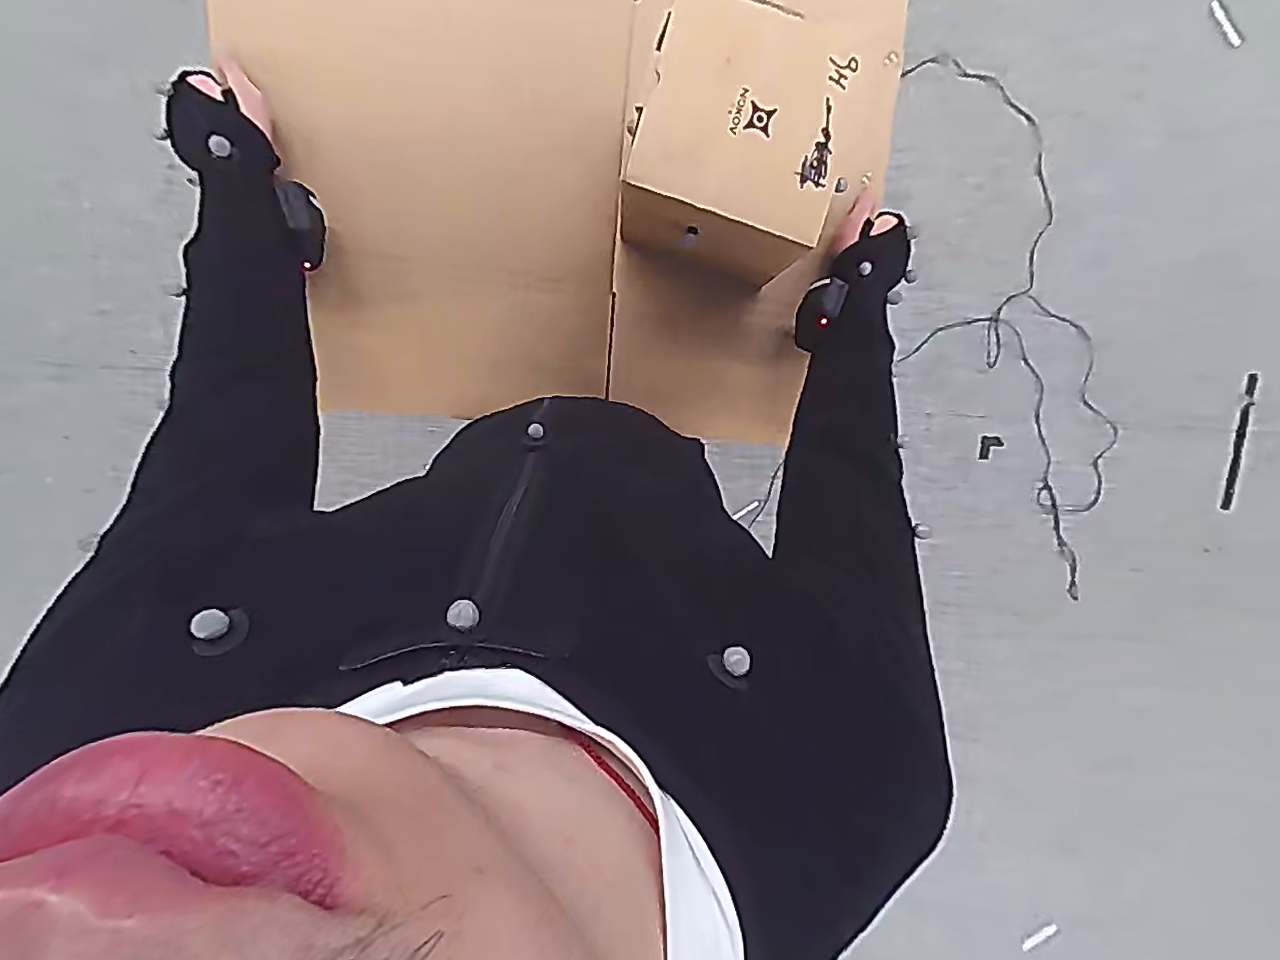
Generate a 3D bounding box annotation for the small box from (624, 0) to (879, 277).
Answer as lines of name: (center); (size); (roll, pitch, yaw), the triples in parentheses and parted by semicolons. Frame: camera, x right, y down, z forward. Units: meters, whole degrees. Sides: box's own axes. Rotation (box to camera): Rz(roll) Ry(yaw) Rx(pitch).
small box: (0.090, -0.317, 0.530); (0.179, 0.176, 0.168); (17, 98, -4)
